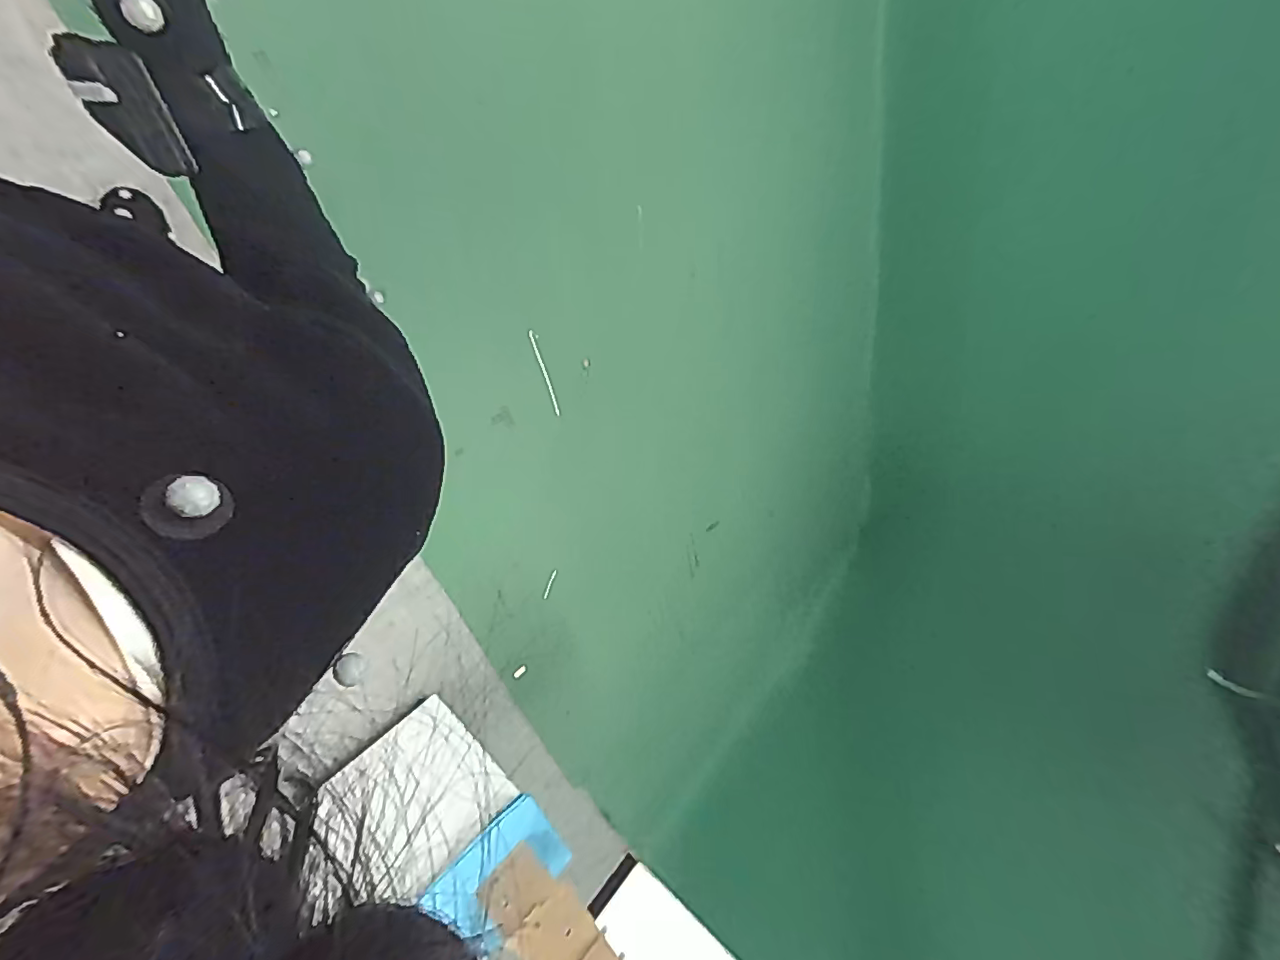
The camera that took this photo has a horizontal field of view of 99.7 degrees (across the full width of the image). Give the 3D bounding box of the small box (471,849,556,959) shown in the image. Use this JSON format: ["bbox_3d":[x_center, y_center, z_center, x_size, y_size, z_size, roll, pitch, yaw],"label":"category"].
[{"bbox_3d":[-0.317,1.126,1.427,0.168,0.176,0.179,-37,131,-30],"label":"small box"}]

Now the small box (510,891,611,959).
[{"bbox_3d":[-0.194,1.165,1.328,0.168,0.176,0.179,-36,131,-31],"label":"small box"}]
